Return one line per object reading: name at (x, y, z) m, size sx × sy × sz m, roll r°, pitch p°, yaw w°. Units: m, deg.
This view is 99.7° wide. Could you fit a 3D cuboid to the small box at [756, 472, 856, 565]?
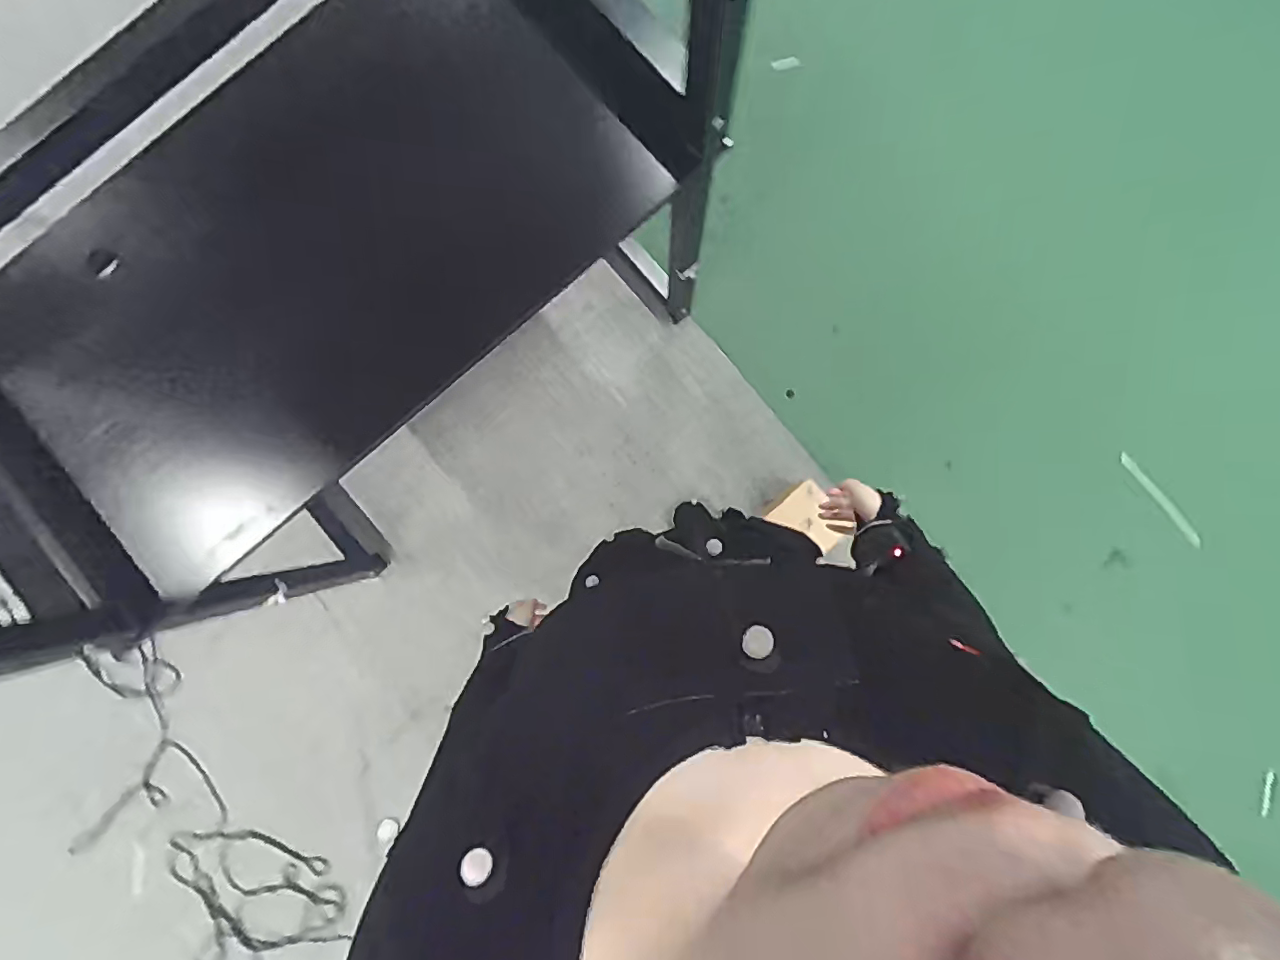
small box at (0.419, 0.098, 1.409) m, size 0.179 × 0.176 × 0.168 m, roll -42°, pitch 87°, yaw 0°
